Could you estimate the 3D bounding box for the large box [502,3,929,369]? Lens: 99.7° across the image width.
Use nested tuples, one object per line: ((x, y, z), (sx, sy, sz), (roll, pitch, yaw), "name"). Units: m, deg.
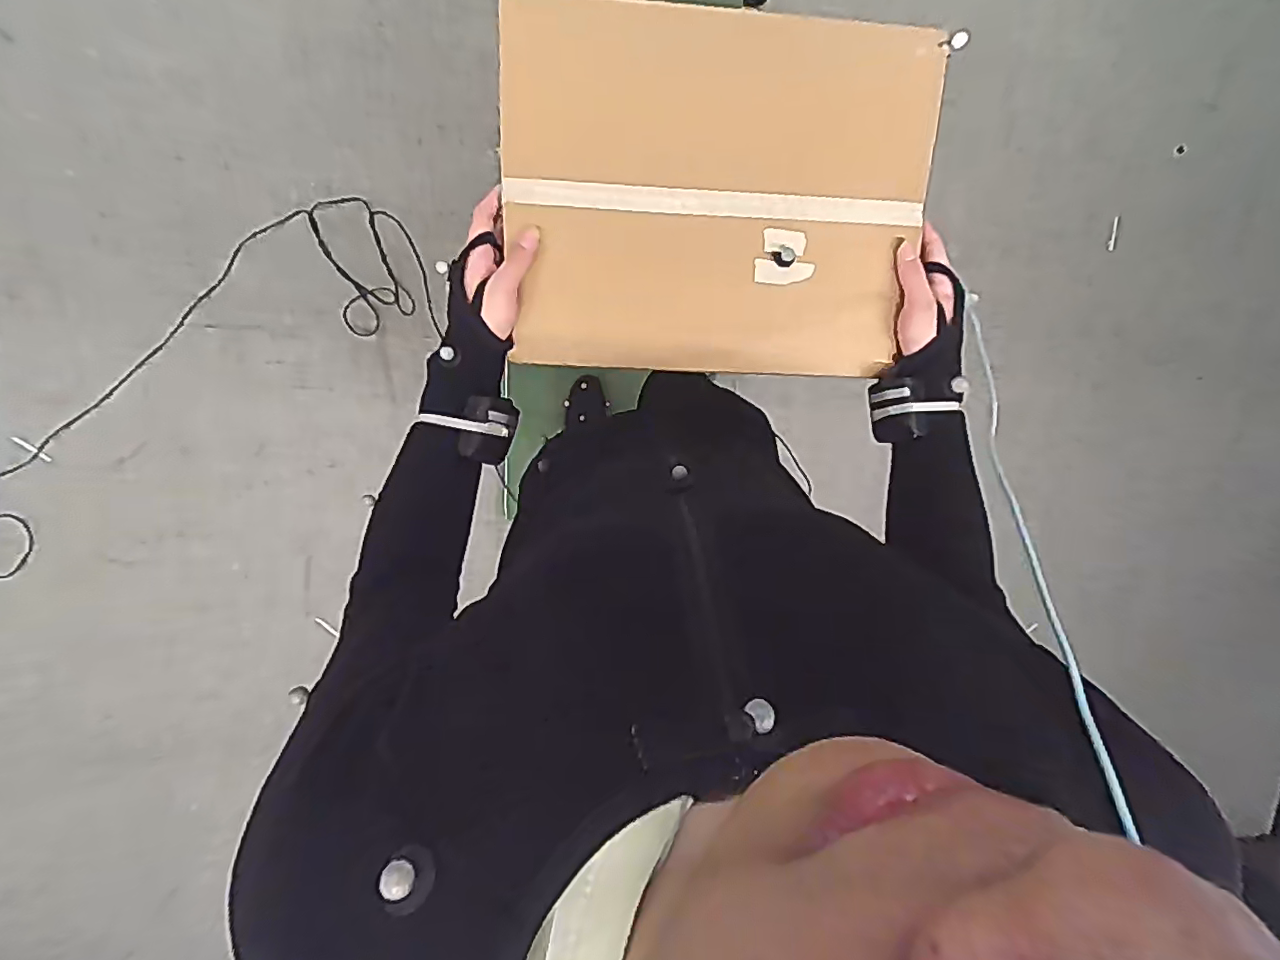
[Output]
((0.059, -0.304, 0.669), (0.408, 0.320, 0.320), (1, 104, -5), "large box")
